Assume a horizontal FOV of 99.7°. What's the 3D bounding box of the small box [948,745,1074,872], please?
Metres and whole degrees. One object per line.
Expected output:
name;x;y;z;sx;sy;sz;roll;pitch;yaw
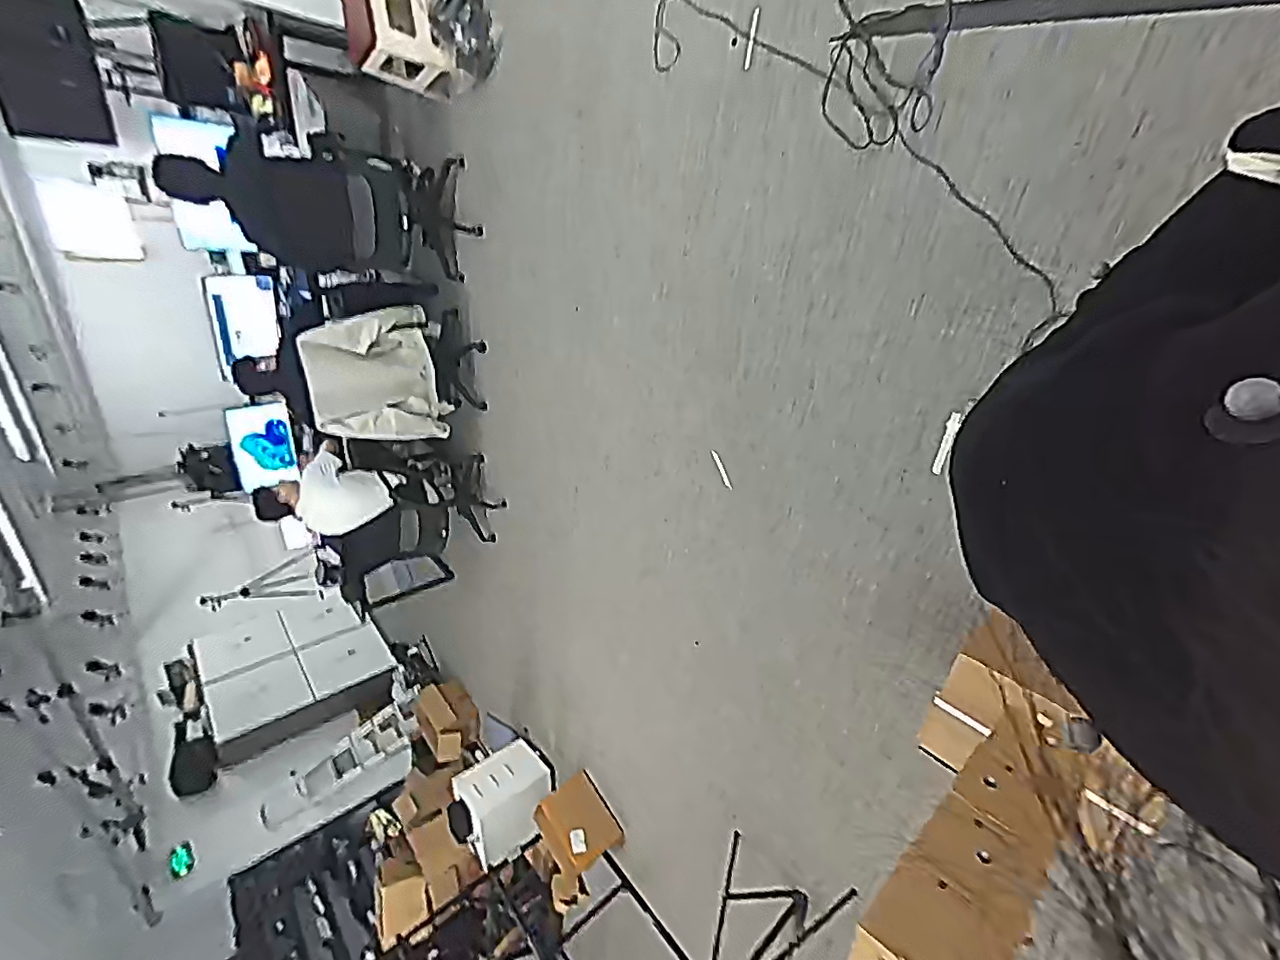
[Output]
small box;0.670;0.640;1.007;0.168;0.176;0.179;28;124;42

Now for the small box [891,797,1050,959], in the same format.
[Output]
small box;0.551;0.683;0.901;0.168;0.176;0.179;24;120;44

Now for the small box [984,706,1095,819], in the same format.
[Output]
small box;0.793;0.609;1.109;0.168;0.176;0.179;29;123;40
